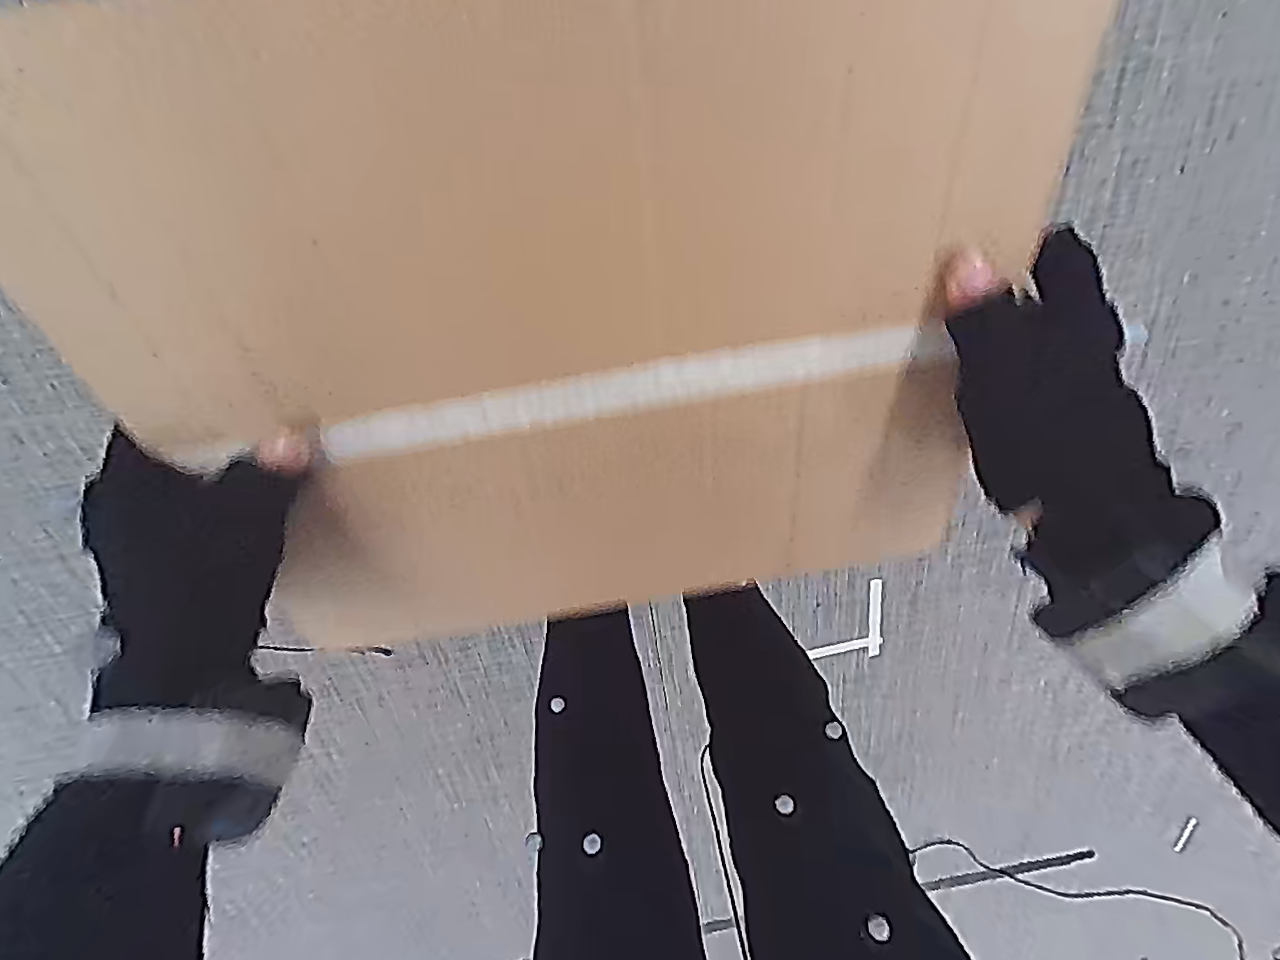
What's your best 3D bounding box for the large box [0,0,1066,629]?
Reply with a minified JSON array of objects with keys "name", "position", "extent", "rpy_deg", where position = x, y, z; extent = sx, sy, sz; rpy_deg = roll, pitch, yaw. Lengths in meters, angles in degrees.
[{"name":"large box","position":[-0.042,-0.142,0.388],"extent":[0.408,0.320,0.320],"rpy_deg":[-10,130,-1]}]
